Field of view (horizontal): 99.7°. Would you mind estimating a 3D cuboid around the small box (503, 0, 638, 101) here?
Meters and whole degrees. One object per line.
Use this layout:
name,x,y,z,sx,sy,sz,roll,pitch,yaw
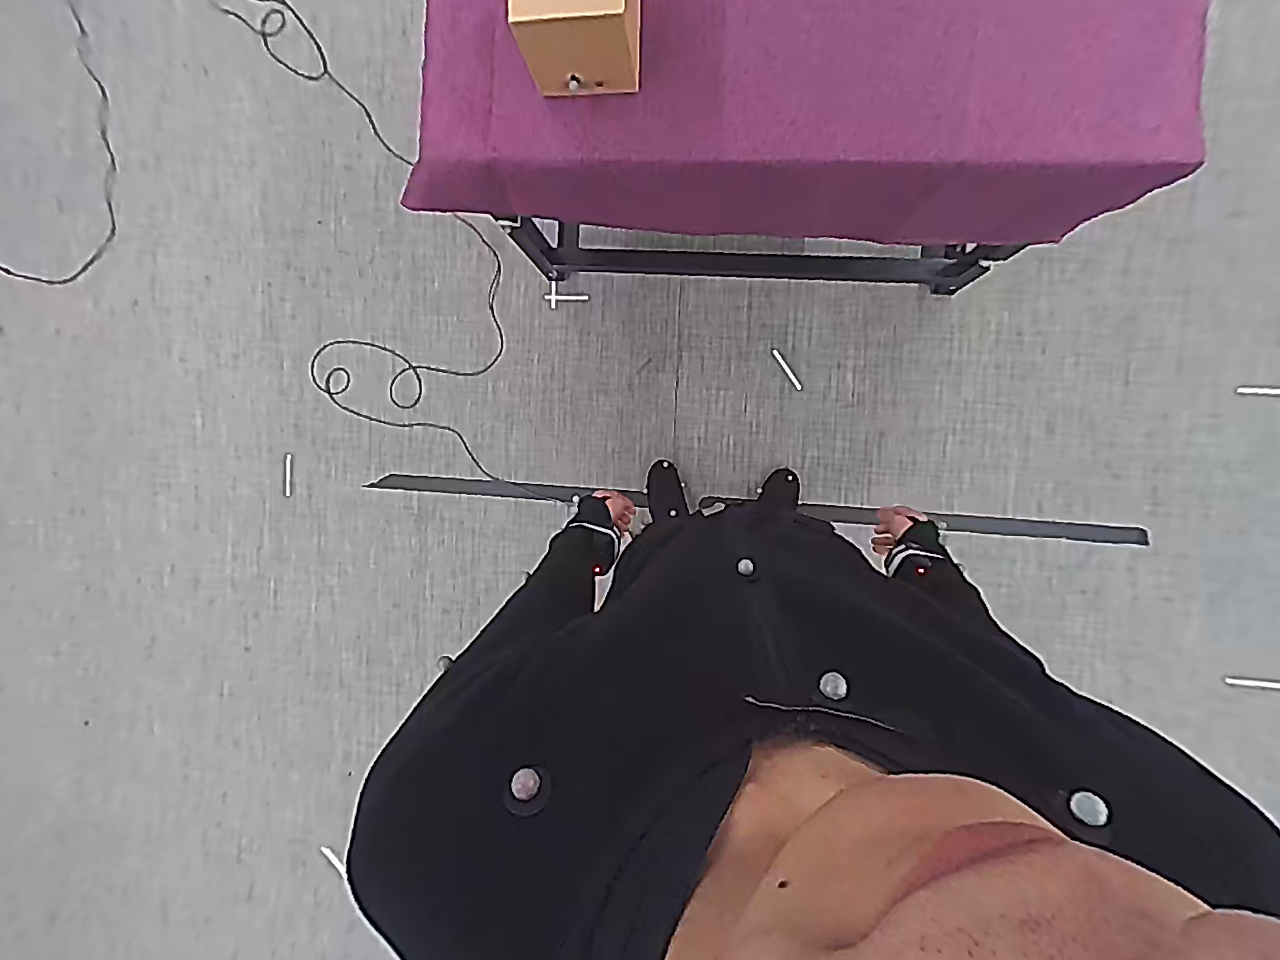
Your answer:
small box,-0.095,-0.711,0.809,0.168,0.176,0.179,2,93,6
